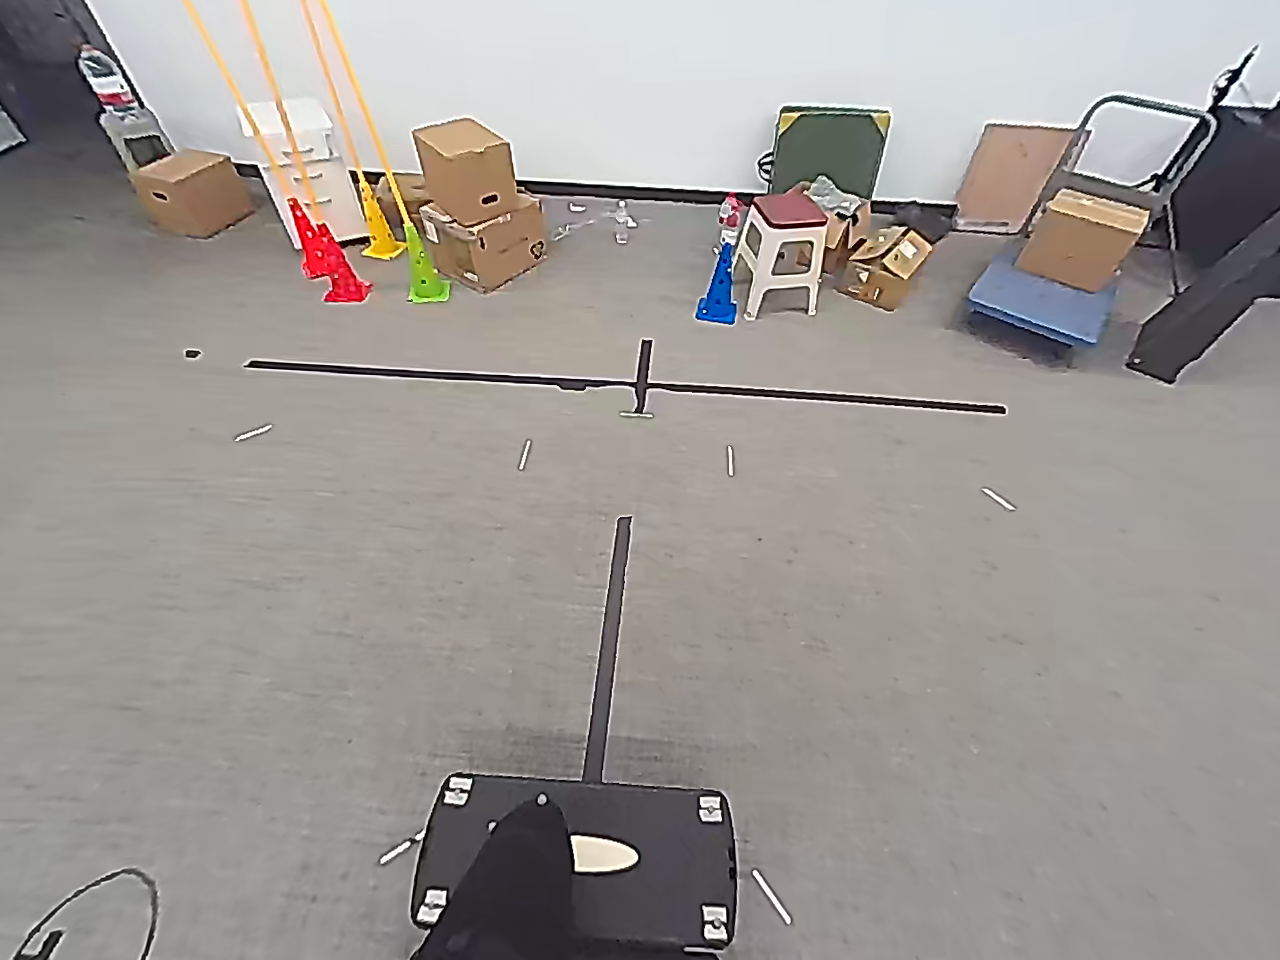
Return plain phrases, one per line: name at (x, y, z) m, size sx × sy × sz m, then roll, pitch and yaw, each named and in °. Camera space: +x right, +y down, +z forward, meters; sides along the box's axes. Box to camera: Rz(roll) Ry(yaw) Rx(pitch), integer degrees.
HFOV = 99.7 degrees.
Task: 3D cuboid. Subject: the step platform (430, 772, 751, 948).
step platform at (-0.100, 0.841, 1.210) m, size 0.684 × 0.204 × 0.286 m, roll 4°, pitch 50°, yaw 0°
